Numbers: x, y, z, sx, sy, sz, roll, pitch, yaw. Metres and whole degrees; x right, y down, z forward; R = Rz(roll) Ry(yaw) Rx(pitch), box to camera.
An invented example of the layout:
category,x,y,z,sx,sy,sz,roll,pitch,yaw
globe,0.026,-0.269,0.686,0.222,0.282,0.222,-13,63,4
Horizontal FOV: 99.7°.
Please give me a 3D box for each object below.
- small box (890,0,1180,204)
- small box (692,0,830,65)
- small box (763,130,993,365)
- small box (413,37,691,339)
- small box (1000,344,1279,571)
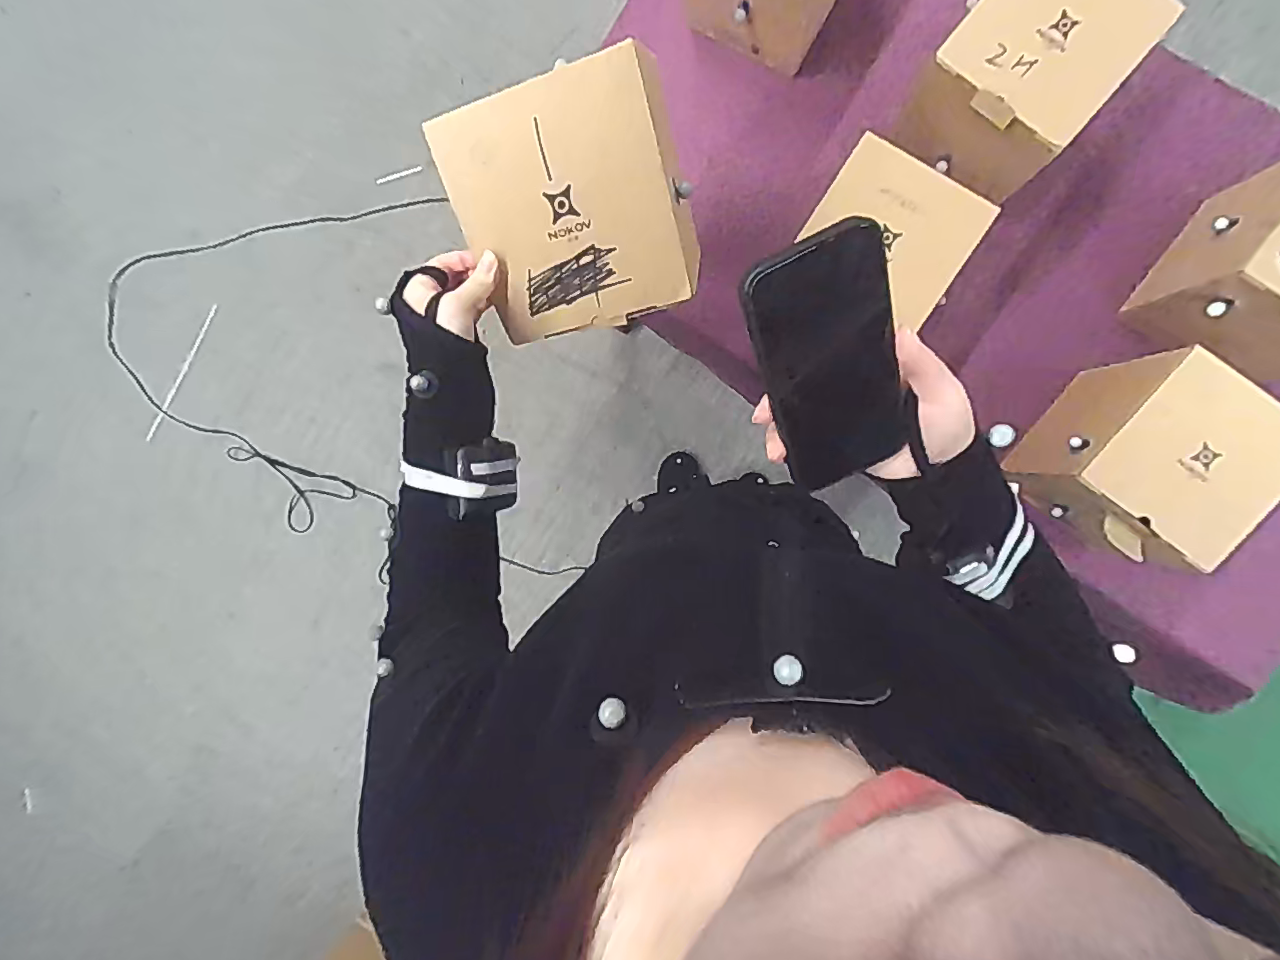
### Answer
category,x,y,z,sx,sy,sz,roll,pitch,yaw
small box,0.426,-0.458,0.623,0.168,0.176,0.179,41,97,4
small box,0.165,-0.655,0.643,0.168,0.176,0.179,30,97,4
small box,0.265,-0.260,0.655,0.168,0.176,0.179,34,95,3
small box,-0.054,-0.252,0.478,0.168,0.176,0.179,-11,122,15
small box,0.576,-0.027,0.629,0.168,0.176,0.179,39,97,4
